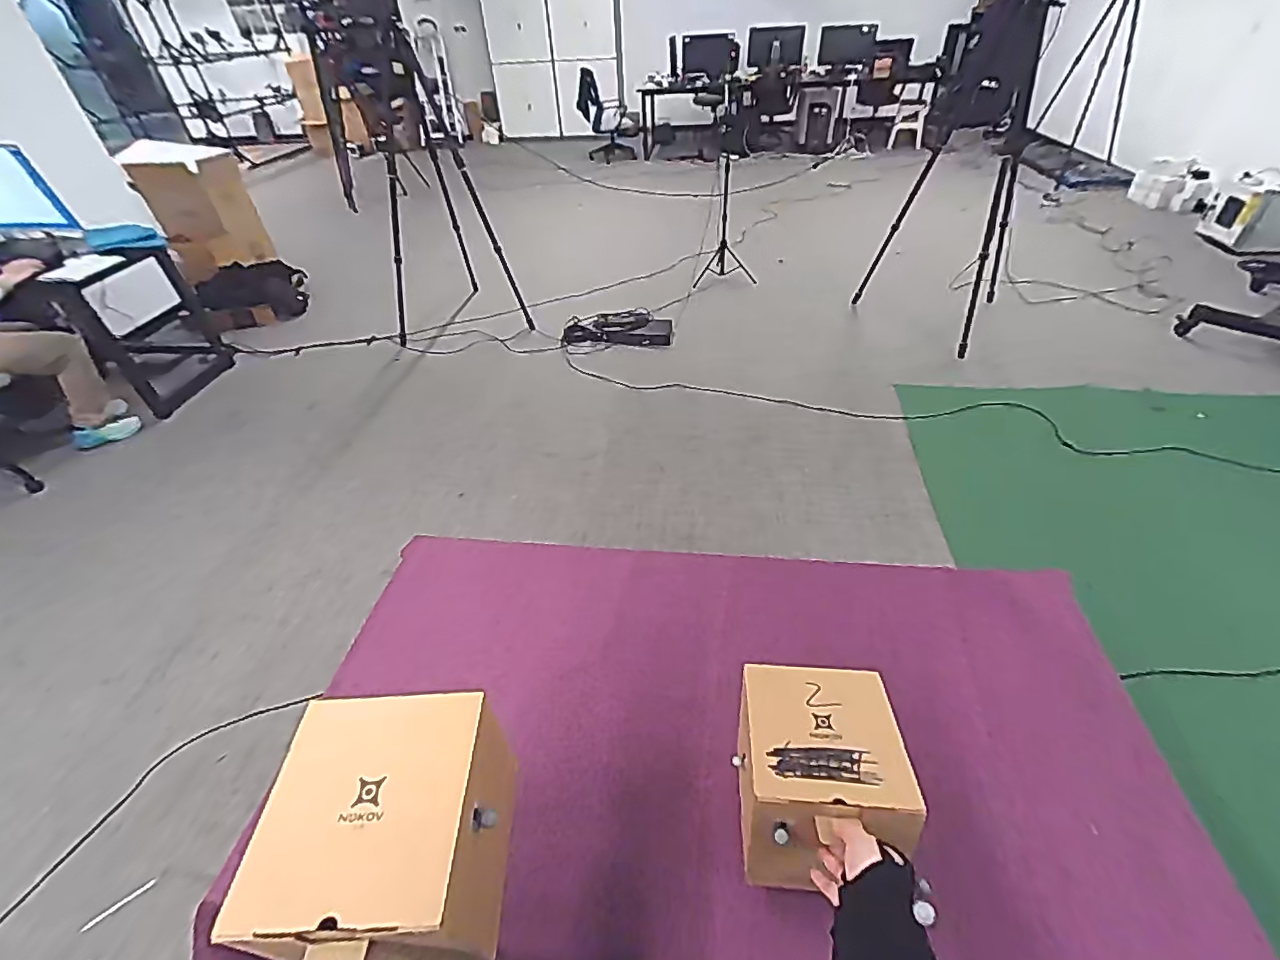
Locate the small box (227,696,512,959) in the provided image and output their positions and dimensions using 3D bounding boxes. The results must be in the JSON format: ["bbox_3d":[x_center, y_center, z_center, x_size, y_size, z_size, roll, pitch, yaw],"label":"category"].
[{"bbox_3d":[-0.224,0.328,0.511,0.168,0.176,0.179,-3,43,0],"label":"small box"}]
